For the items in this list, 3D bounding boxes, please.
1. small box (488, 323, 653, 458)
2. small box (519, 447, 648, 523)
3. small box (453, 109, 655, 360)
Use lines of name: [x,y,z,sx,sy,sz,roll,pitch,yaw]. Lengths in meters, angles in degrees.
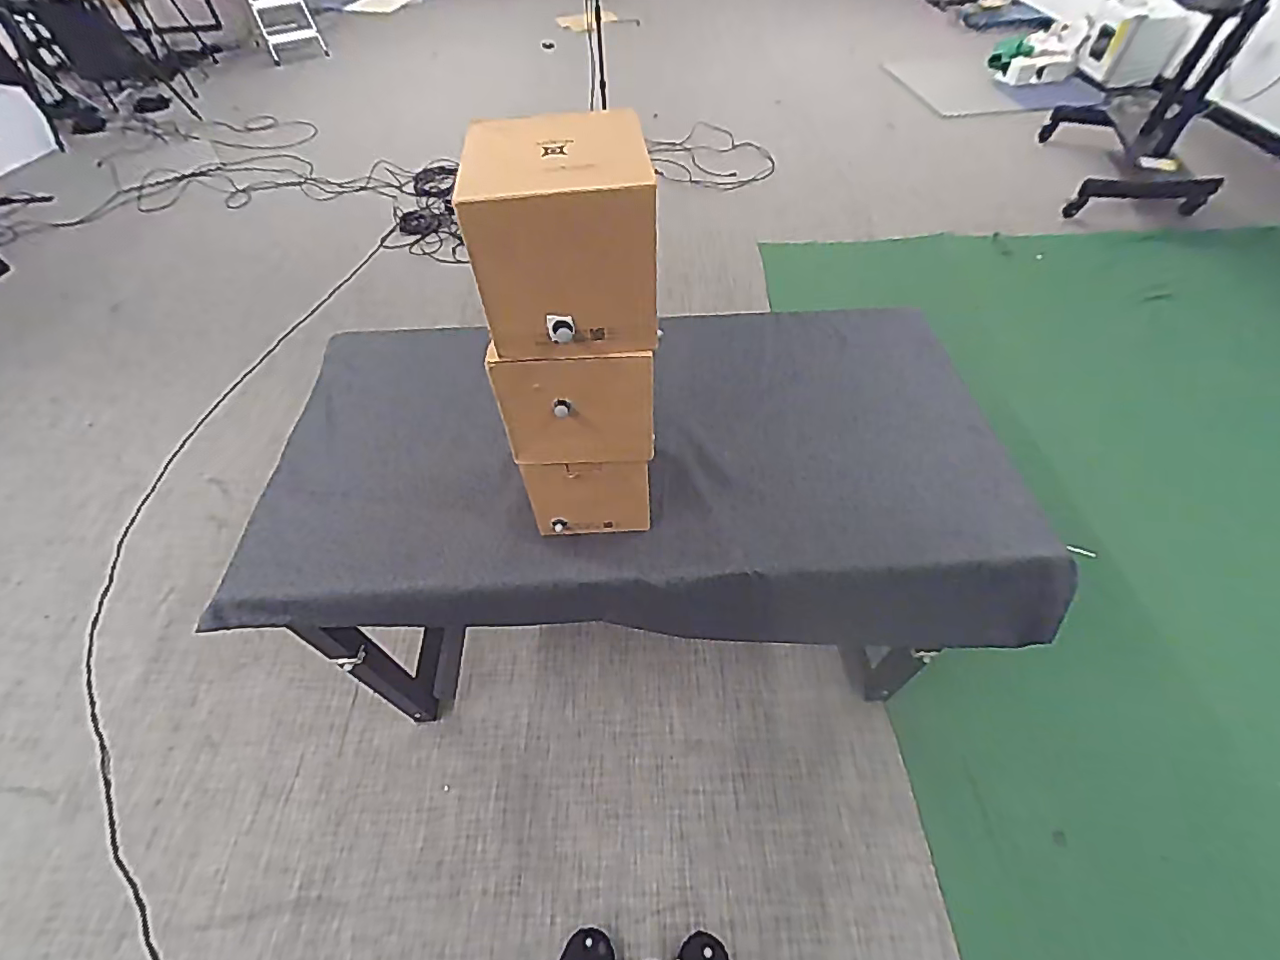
small box: [-0.077,-0.141,0.679,0.179,0.176,0.168,-4,50,-2]
small box: [-0.075,-0.046,0.808,0.168,0.176,0.179,-3,51,0]
small box: [-0.077,-0.247,0.552,0.168,0.176,0.179,-8,53,-2]
